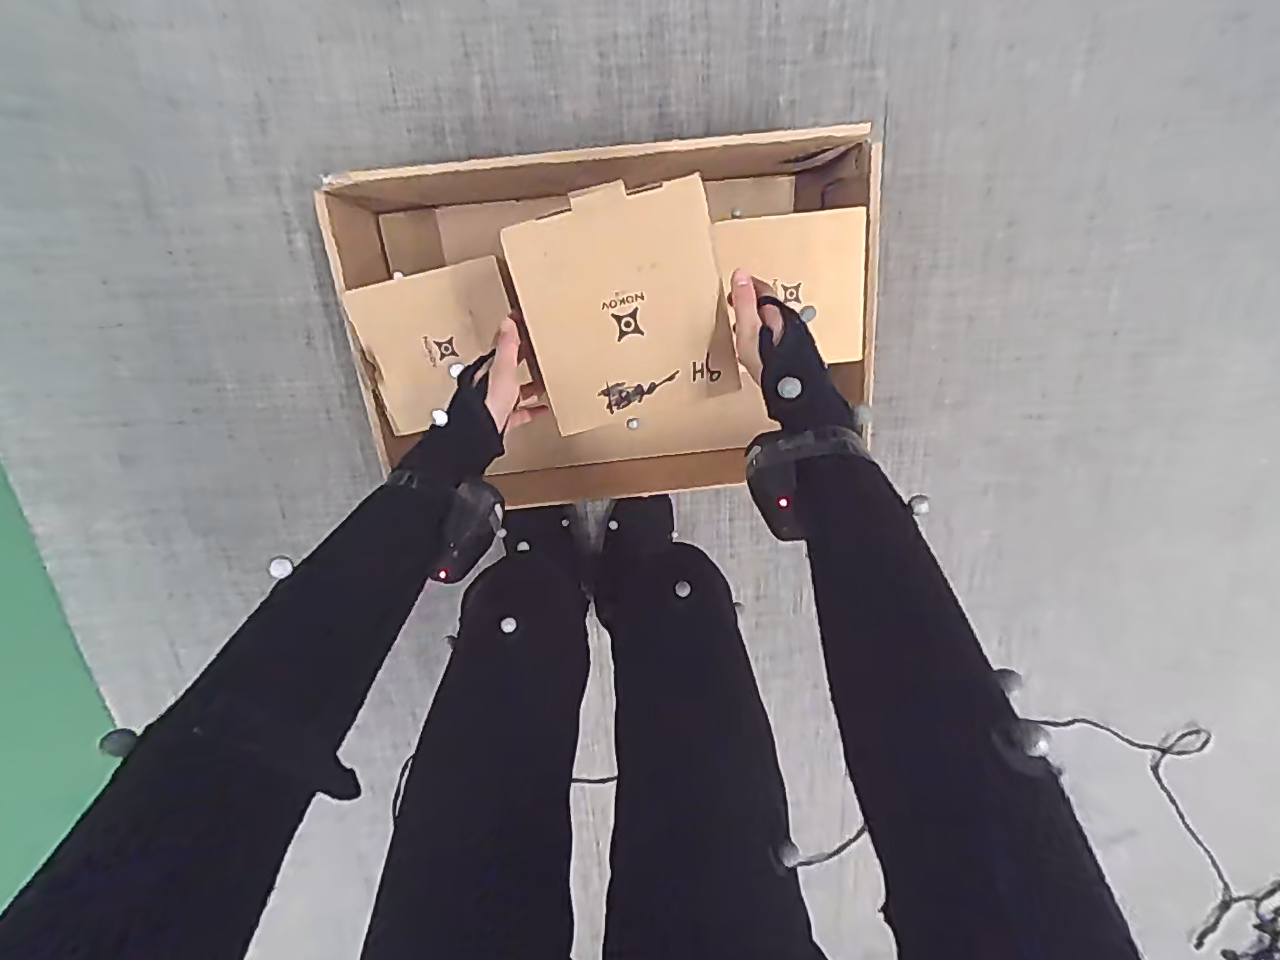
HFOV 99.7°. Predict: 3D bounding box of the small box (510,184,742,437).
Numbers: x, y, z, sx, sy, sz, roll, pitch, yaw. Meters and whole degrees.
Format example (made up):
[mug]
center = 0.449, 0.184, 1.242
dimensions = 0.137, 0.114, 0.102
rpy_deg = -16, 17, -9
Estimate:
[small box]
center = -0.012, -0.158, 0.527
dimensions = 0.168, 0.176, 0.179
rpy_deg = -14, 107, 2
